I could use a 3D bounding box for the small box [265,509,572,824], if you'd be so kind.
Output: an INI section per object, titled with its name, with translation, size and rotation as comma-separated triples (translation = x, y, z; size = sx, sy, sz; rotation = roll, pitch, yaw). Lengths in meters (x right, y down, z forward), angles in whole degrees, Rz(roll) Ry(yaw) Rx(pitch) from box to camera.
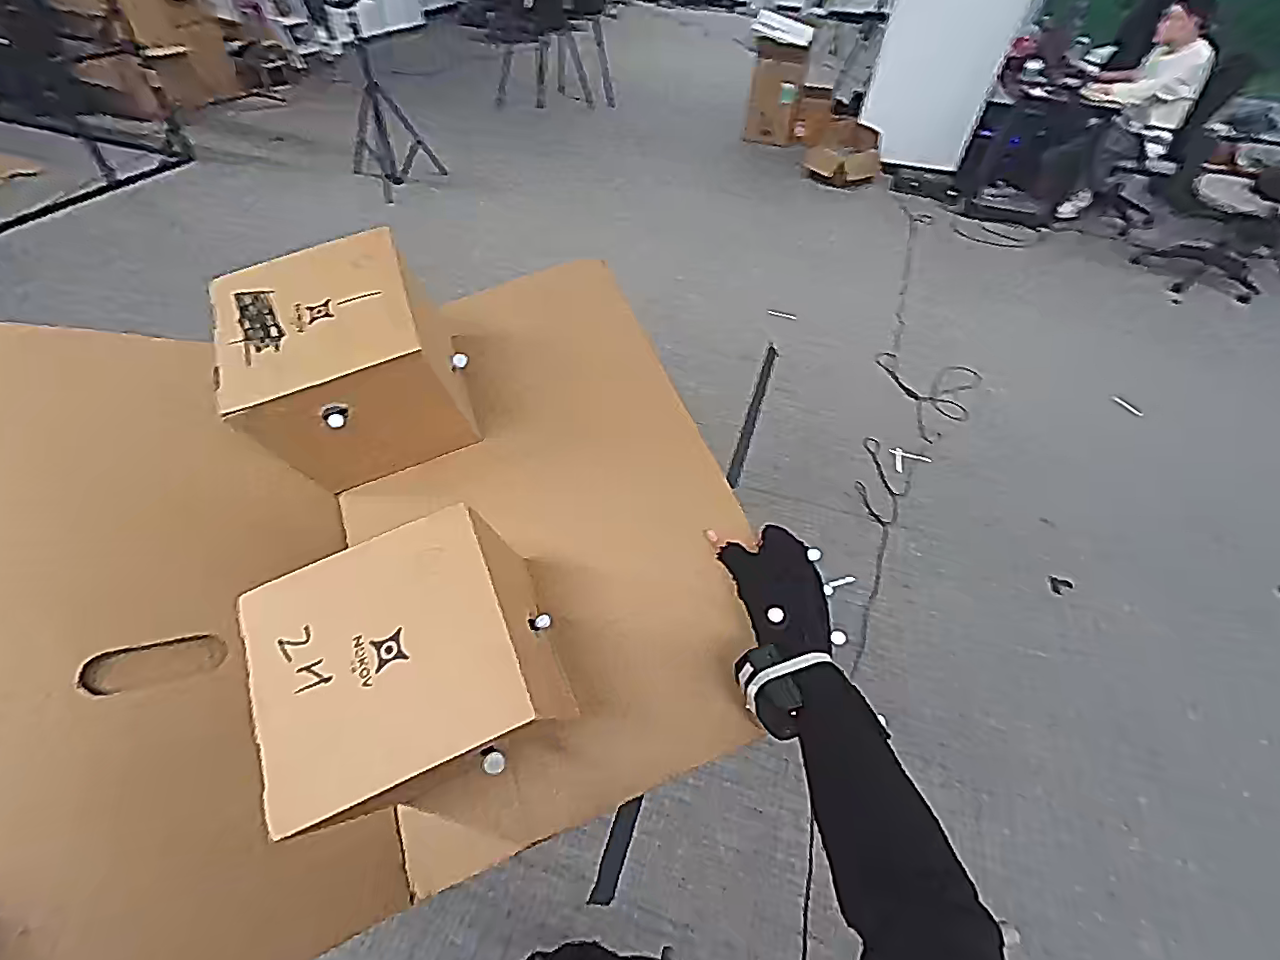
[small box]
translation = -0.166, 0.151, 0.453
size = 0.179, 0.176, 0.168
rotation = -22, 66, -5
